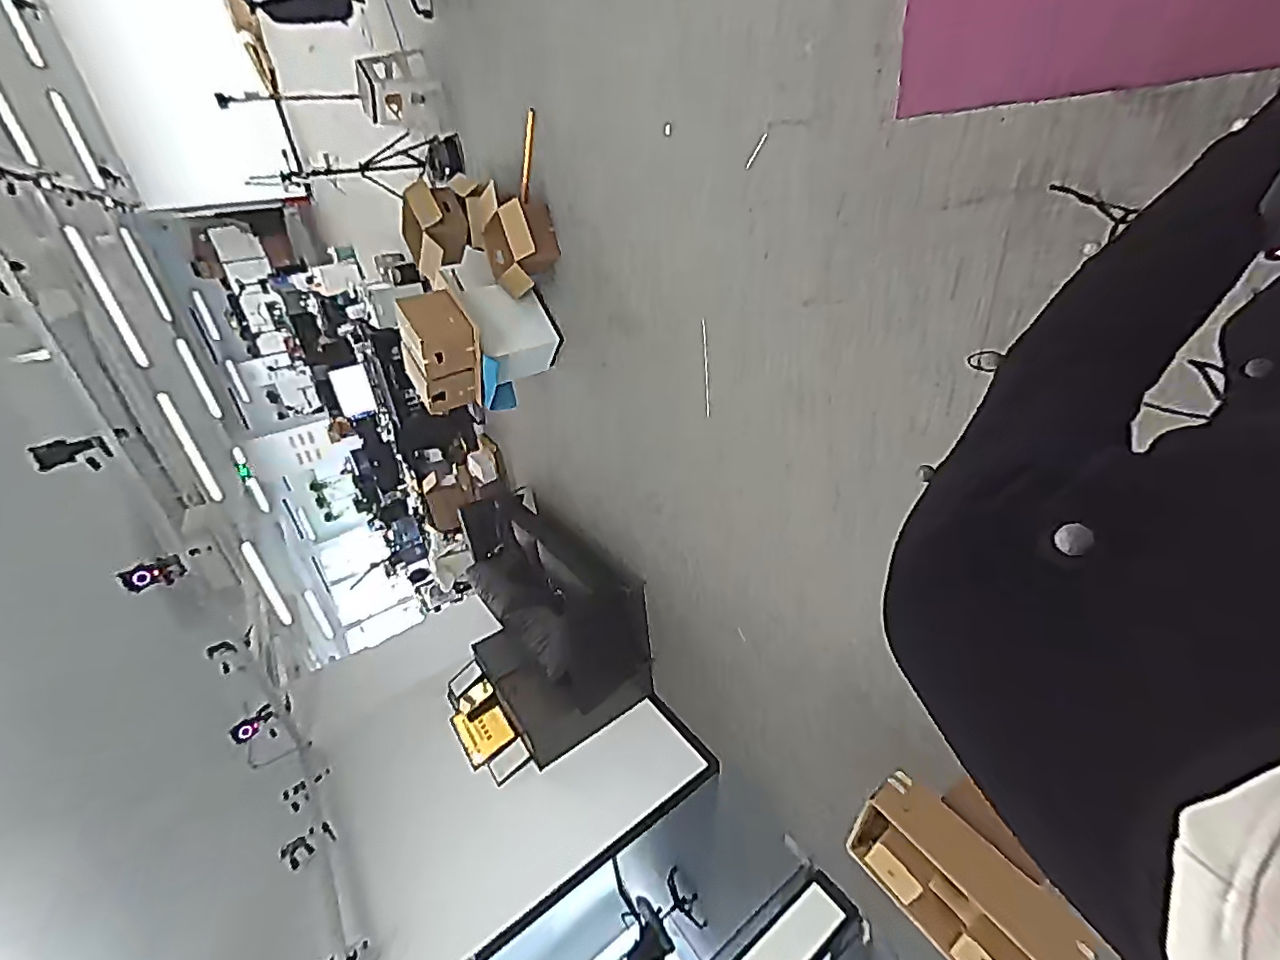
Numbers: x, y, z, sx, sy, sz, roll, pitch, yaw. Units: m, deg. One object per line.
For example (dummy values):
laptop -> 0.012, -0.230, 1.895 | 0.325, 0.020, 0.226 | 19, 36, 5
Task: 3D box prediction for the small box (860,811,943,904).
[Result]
small box -> 0.881, 1.266, 1.821 | 0.168, 0.176, 0.179 | 40, 141, 38
